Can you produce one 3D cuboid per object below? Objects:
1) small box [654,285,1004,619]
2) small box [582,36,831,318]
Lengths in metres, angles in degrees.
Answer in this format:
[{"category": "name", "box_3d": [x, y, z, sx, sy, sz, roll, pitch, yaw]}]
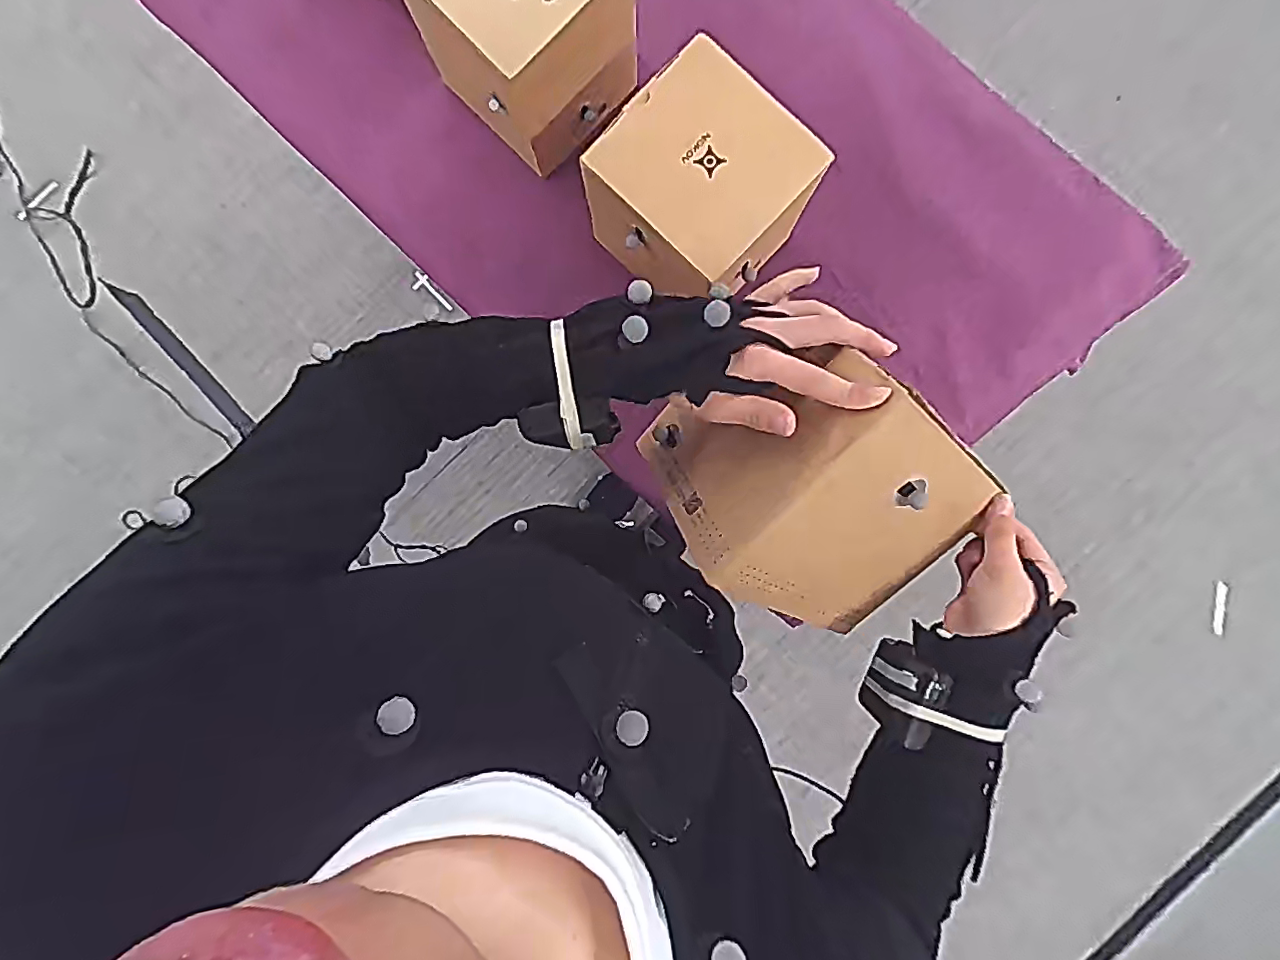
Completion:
[{"category": "small box", "box_3d": [0.132, -0.013, 0.431, 0.179, 0.168, 0.176, 27, 114, -37]}, {"category": "small box", "box_3d": [0.064, -0.299, 0.583, 0.179, 0.176, 0.168, 44, 90, 2]}]
